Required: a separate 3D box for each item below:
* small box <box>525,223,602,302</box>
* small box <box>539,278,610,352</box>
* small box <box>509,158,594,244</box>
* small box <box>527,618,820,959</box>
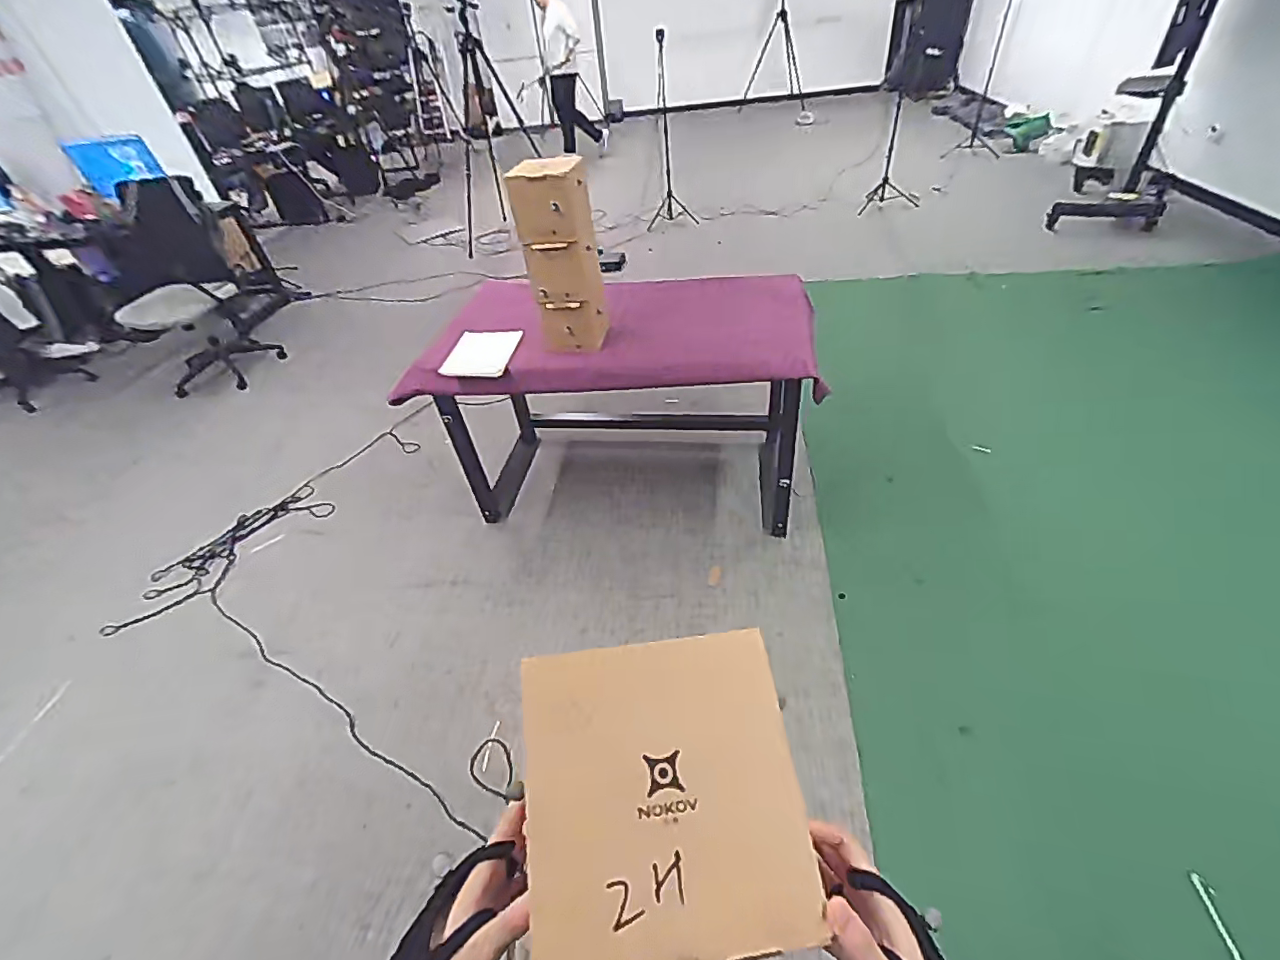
[{"bbox_3d":[-0.213,-0.626,1.562,0.168,0.176,0.179,2,41,11],"label":"small box"},{"bbox_3d":[-0.196,-0.508,1.676,0.168,0.176,0.179,2,43,10],"label":"small box"},{"bbox_3d":[-0.229,-0.744,1.450,0.168,0.176,0.179,3,42,11],"label":"small box"},{"bbox_3d":[0.007,0.217,0.404,0.168,0.176,0.179,-5,62,-6],"label":"small box"}]
